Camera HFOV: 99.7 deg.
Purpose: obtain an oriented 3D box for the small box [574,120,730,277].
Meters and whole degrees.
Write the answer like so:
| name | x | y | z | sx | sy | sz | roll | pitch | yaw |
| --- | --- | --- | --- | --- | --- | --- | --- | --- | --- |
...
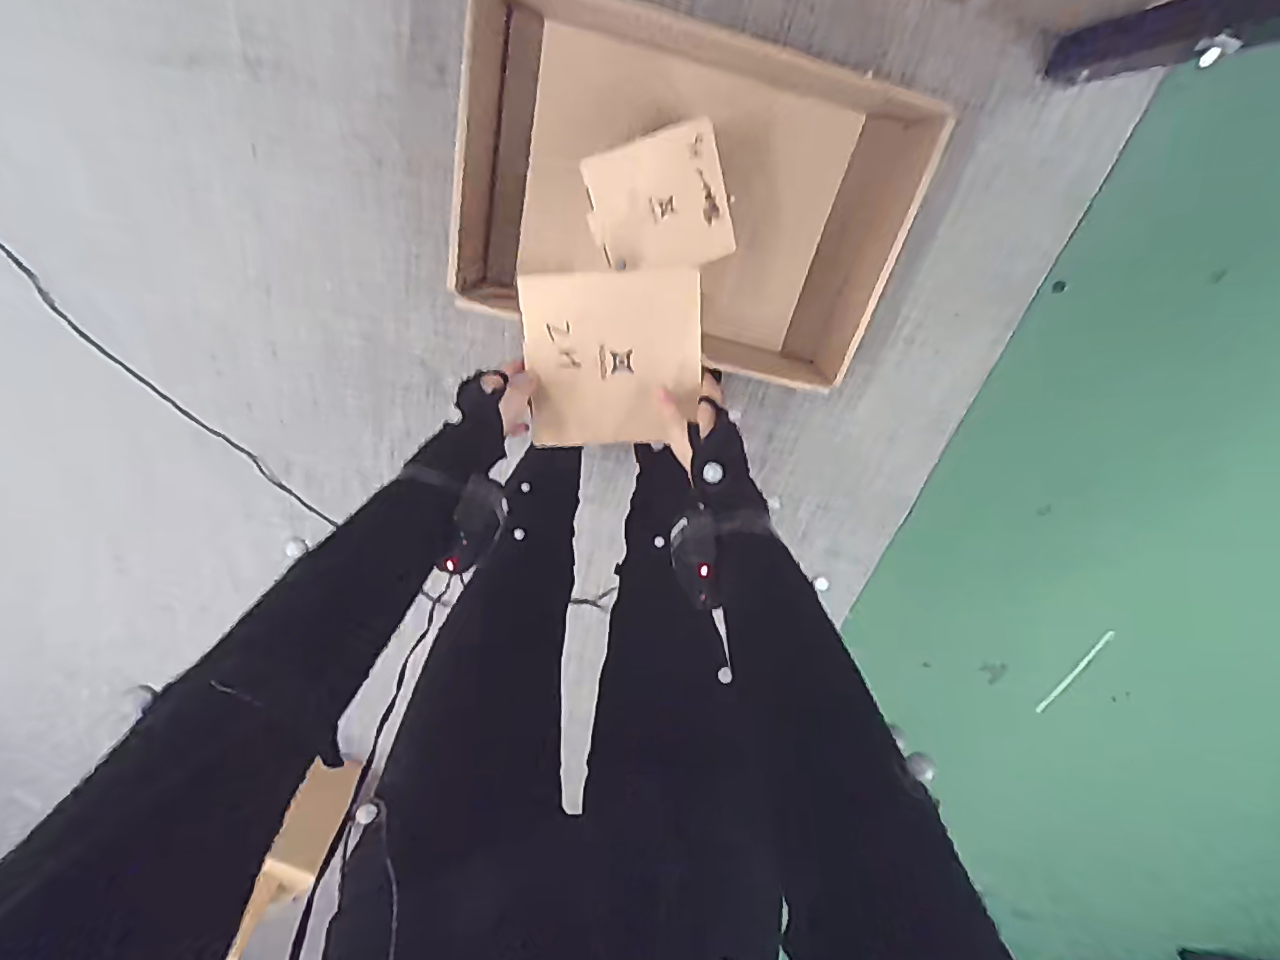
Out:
| name | x | y | z | sx | sy | sz | roll | pitch | yaw |
| --- | --- | --- | --- | --- | --- | --- | --- | --- | --- |
| small box | 0.023 | -0.392 | 0.783 | 0.179 | 0.176 | 0.168 | -14 | 118 | 9 |

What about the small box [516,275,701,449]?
| name | x | y | z | sx | sy | sz | roll | pitch | yaw |
| --- | --- | --- | --- | --- | --- | --- | --- | --- | --- |
| small box | -0.029 | -0.132 | 0.601 | 0.179 | 0.176 | 0.168 | -2 | 104 | 1 |
